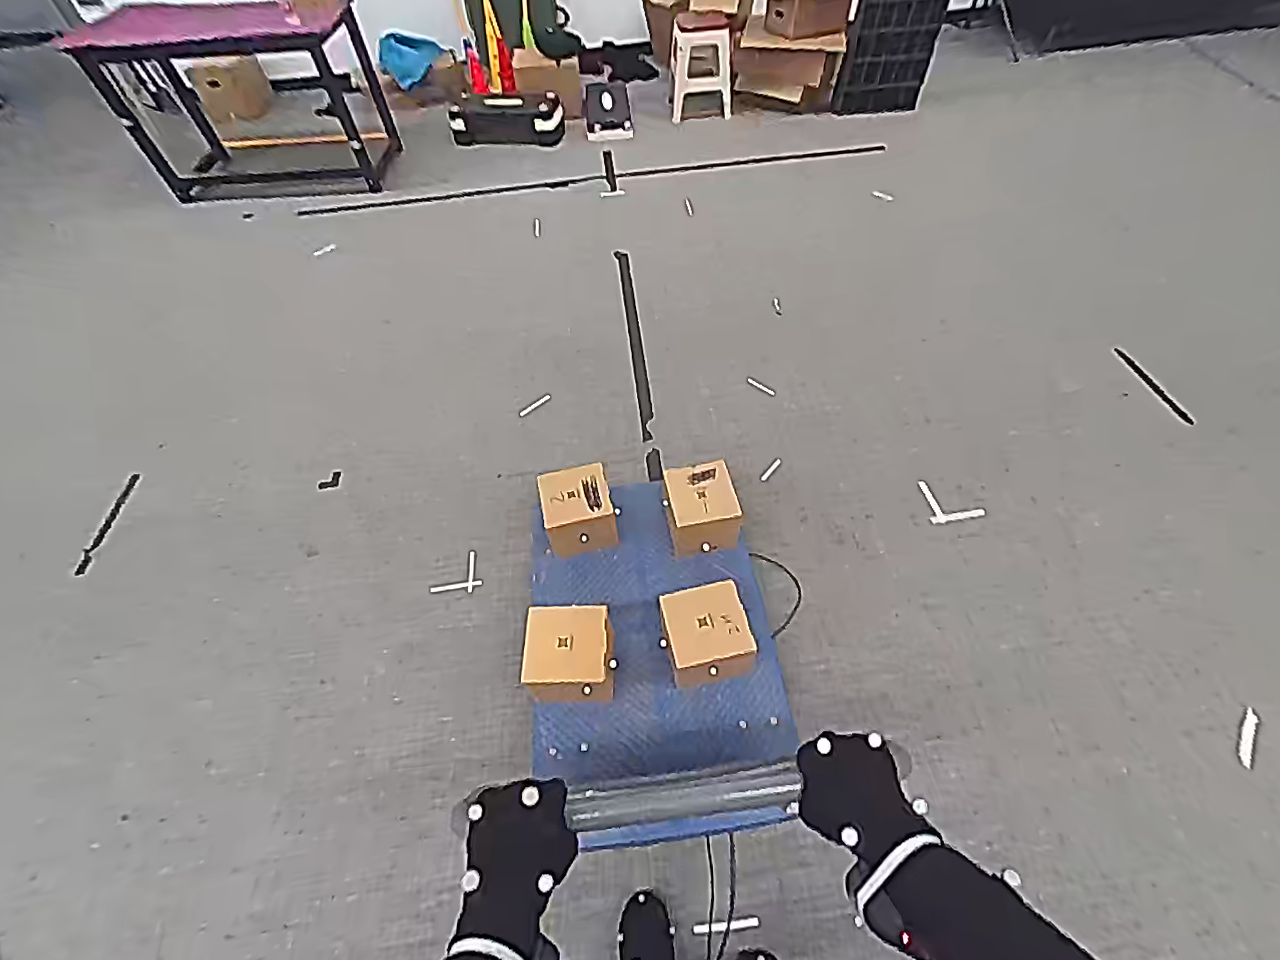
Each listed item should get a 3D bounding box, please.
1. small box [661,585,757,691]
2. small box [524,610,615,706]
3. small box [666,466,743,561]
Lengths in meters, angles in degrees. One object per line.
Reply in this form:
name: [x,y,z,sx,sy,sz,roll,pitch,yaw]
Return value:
small box: [0.152,0.364,1.233,0.179,0.176,0.168,-12,54,-4]
small box: [-0.151,0.406,1.225,0.179,0.176,0.168,-2,54,1]
small box: [0.162,0.090,1.432,0.168,0.176,0.179,-10,55,-3]
